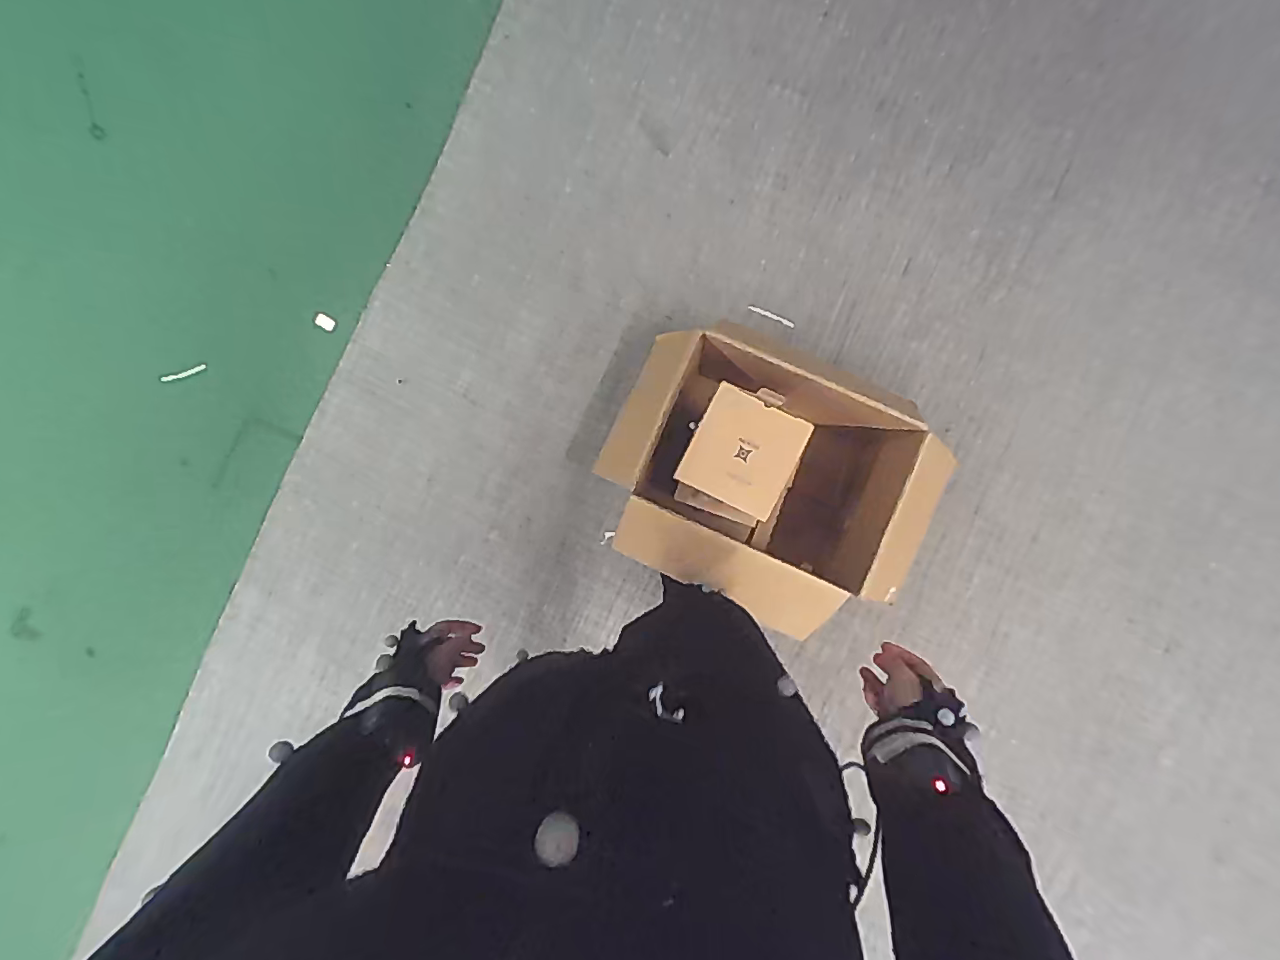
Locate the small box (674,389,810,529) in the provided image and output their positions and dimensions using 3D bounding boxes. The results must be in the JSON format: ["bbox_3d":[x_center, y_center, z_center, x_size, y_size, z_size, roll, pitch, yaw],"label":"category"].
[{"bbox_3d":[0.164,-0.035,0.941,0.168,0.176,0.179,28,92,2],"label":"small box"}]
